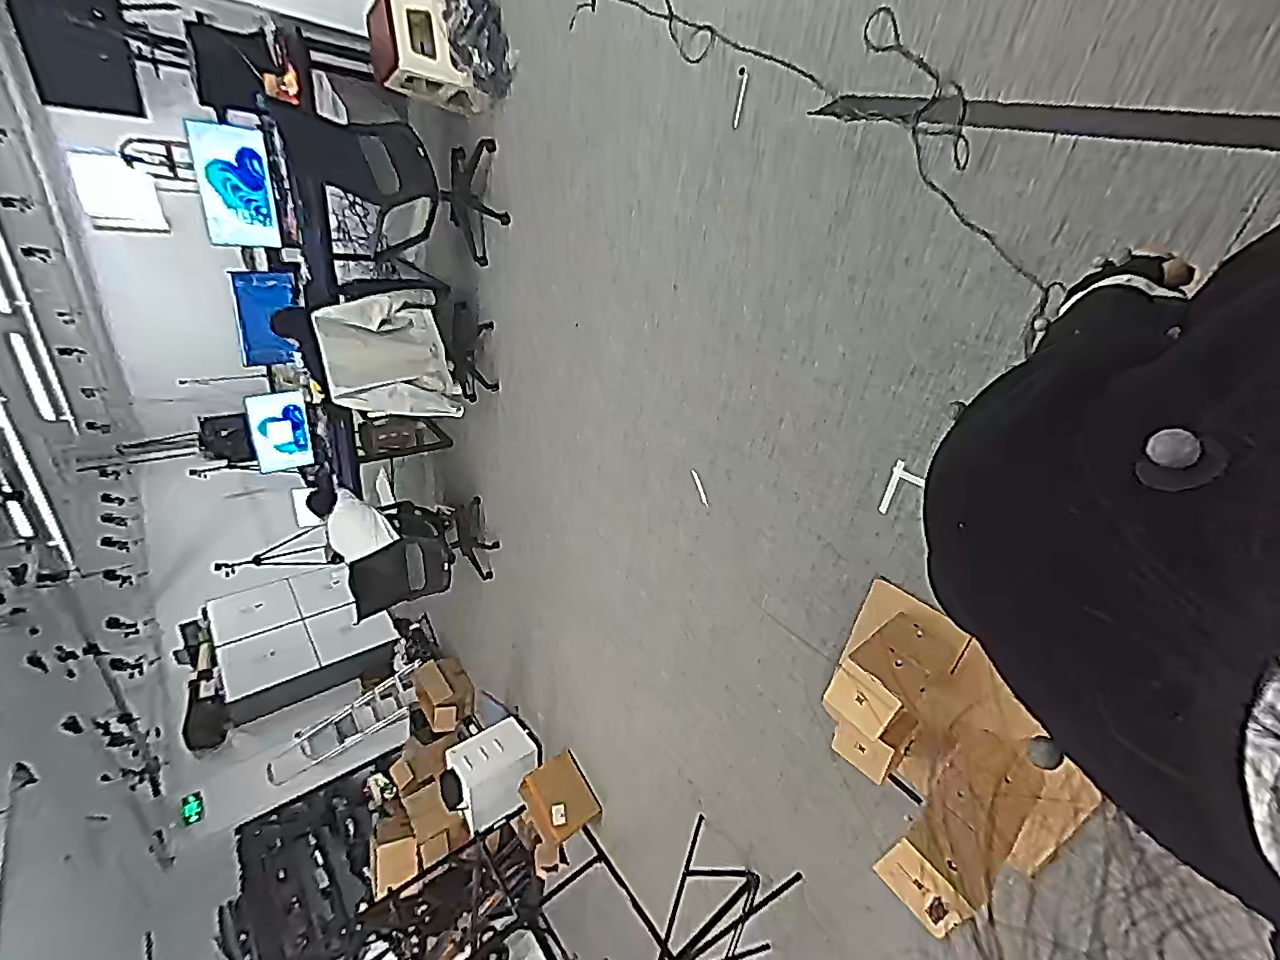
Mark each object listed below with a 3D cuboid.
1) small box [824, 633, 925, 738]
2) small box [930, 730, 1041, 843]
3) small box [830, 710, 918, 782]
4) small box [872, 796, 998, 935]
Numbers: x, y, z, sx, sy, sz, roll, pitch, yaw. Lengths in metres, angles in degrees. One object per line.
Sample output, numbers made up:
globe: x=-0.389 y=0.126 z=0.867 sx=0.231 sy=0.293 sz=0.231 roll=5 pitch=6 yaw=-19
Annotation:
small box: x=0.643 y=0.556 z=1.479 sx=0.168 sy=0.176 sz=0.179 roll=39 pitch=129 yaw=36
small box: x=0.942 y=0.827 z=1.471 sx=0.179 sy=0.176 sz=0.168 roll=43 pitch=132 yaw=32
small box: x=0.740 y=0.801 z=1.714 sx=0.179 sy=0.176 sz=0.168 roll=31 pitch=126 yaw=41
small box: x=0.692 y=0.895 z=1.267 sx=0.179 sy=0.176 sz=0.168 roll=42 pitch=132 yaw=35
